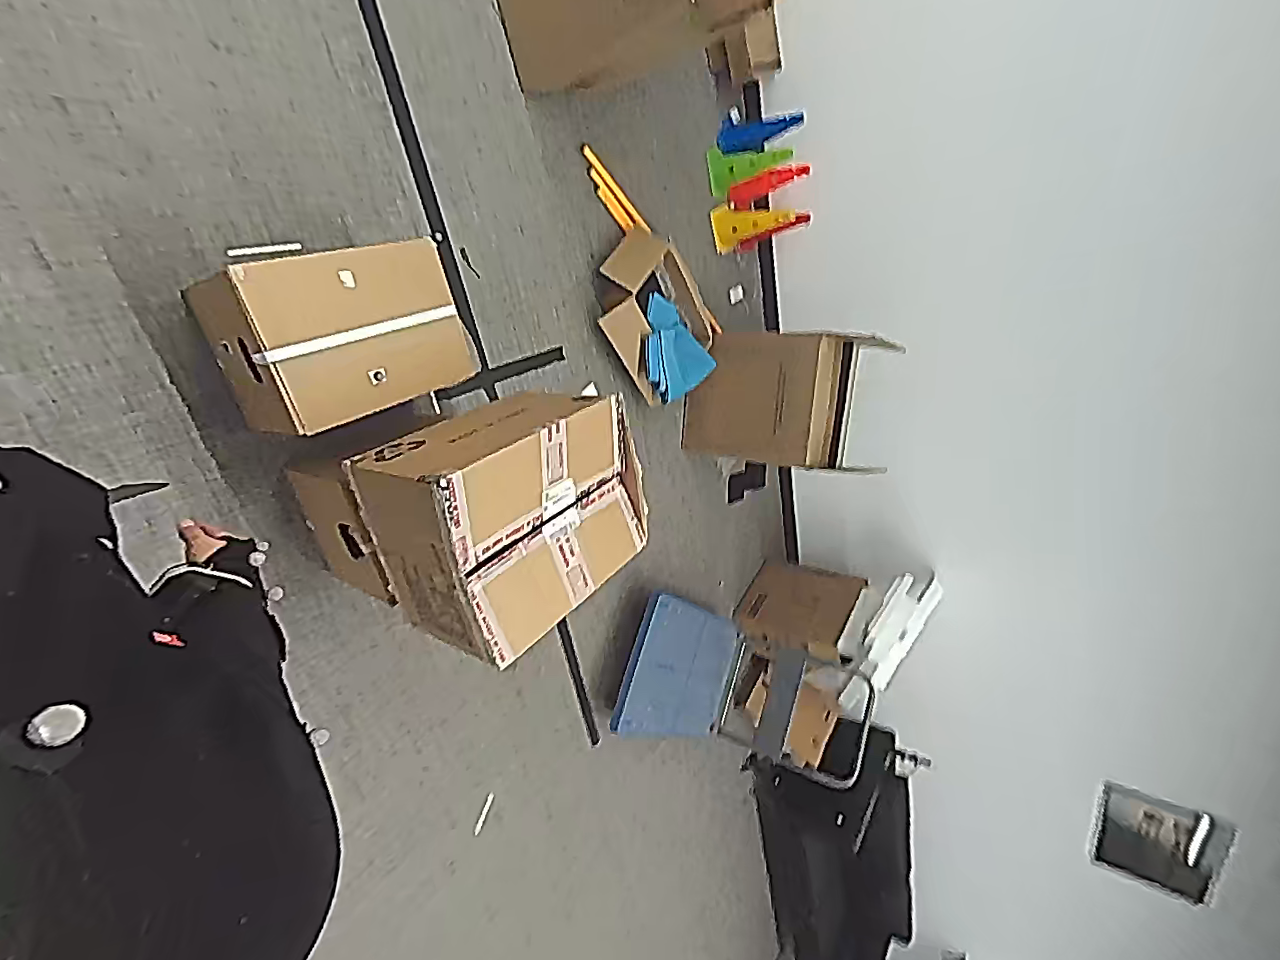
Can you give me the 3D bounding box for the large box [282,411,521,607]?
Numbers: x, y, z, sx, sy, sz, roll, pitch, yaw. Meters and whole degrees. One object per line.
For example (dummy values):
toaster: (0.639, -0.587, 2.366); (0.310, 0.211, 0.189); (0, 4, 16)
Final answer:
large box: (-0.578, 0.042, 1.358); (0.408, 0.320, 0.320); (-34, 122, -43)
